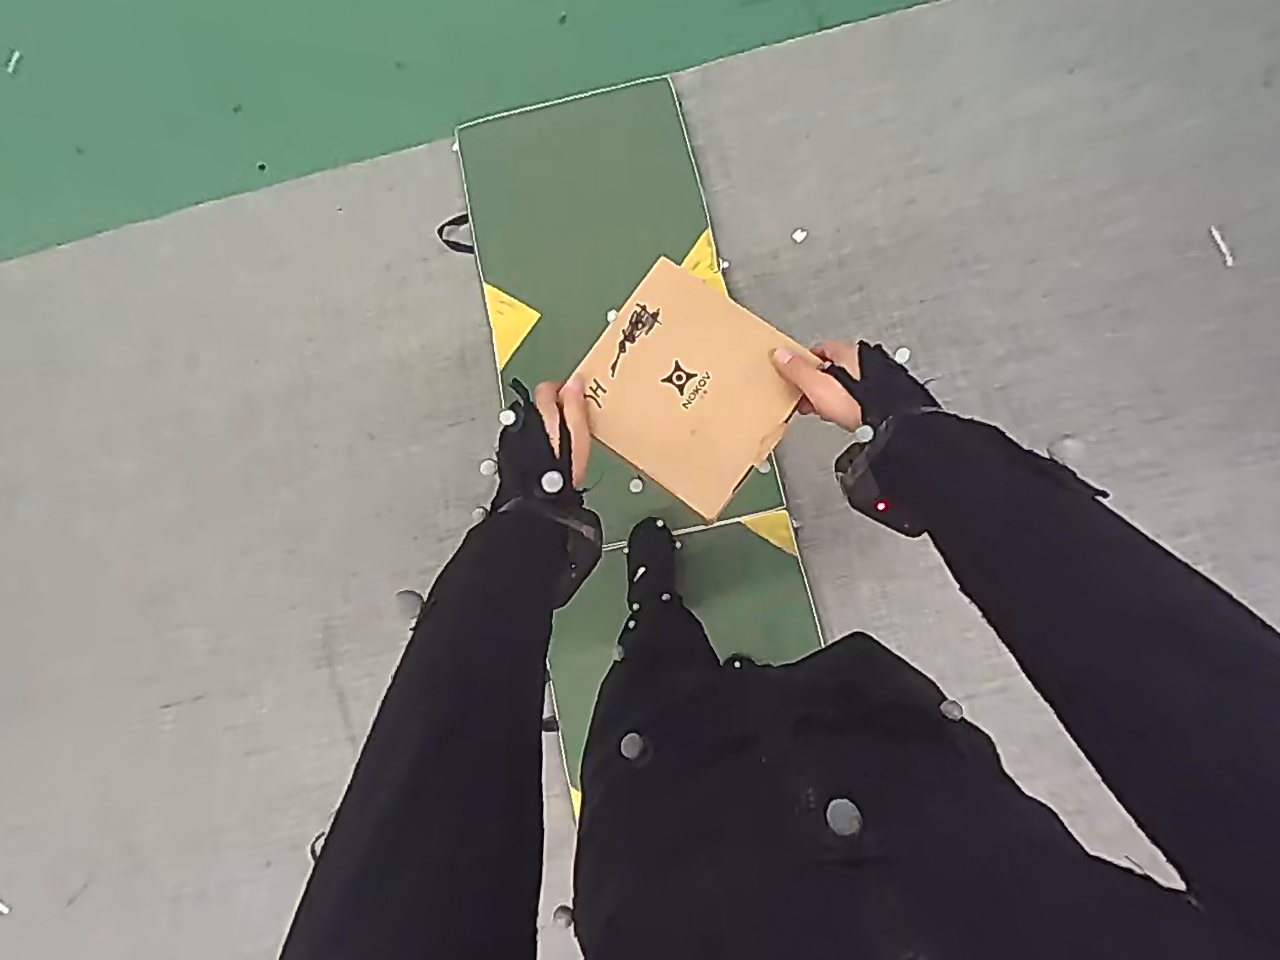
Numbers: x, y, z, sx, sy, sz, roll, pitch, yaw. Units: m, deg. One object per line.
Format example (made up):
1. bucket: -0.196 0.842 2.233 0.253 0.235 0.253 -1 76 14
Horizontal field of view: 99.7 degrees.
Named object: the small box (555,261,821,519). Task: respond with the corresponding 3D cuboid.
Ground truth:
1. small box: 0.047 -0.076 0.550 0.179 0.176 0.168 37 88 7
